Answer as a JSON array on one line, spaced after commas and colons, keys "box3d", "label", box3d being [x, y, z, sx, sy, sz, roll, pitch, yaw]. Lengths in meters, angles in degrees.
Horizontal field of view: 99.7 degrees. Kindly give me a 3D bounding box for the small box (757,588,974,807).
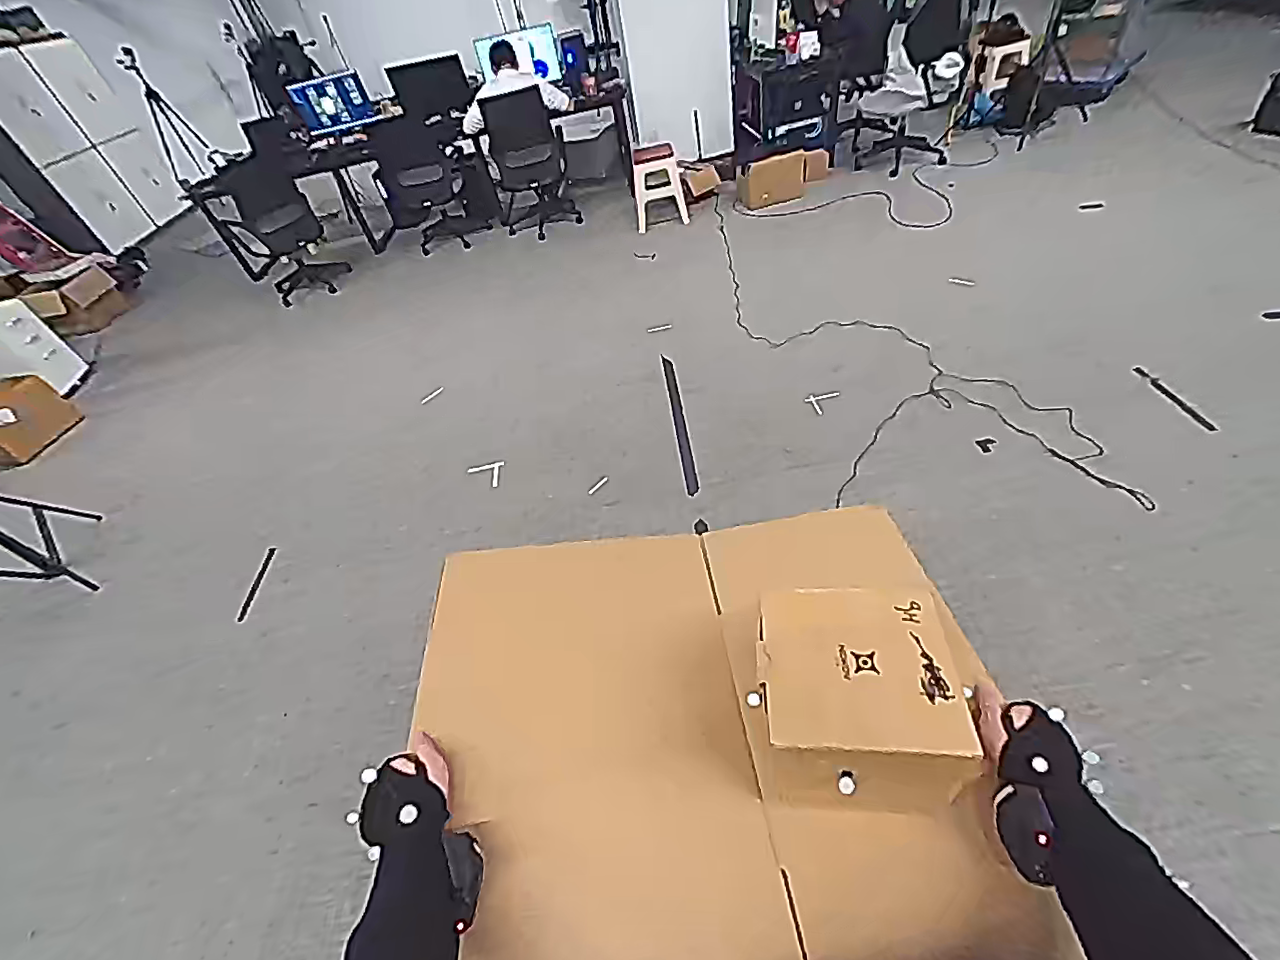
[{"box3d": [0.222, 0.233, 0.580, 0.179, 0.176, 0.168, -3, 44, 12], "label": "small box"}]
